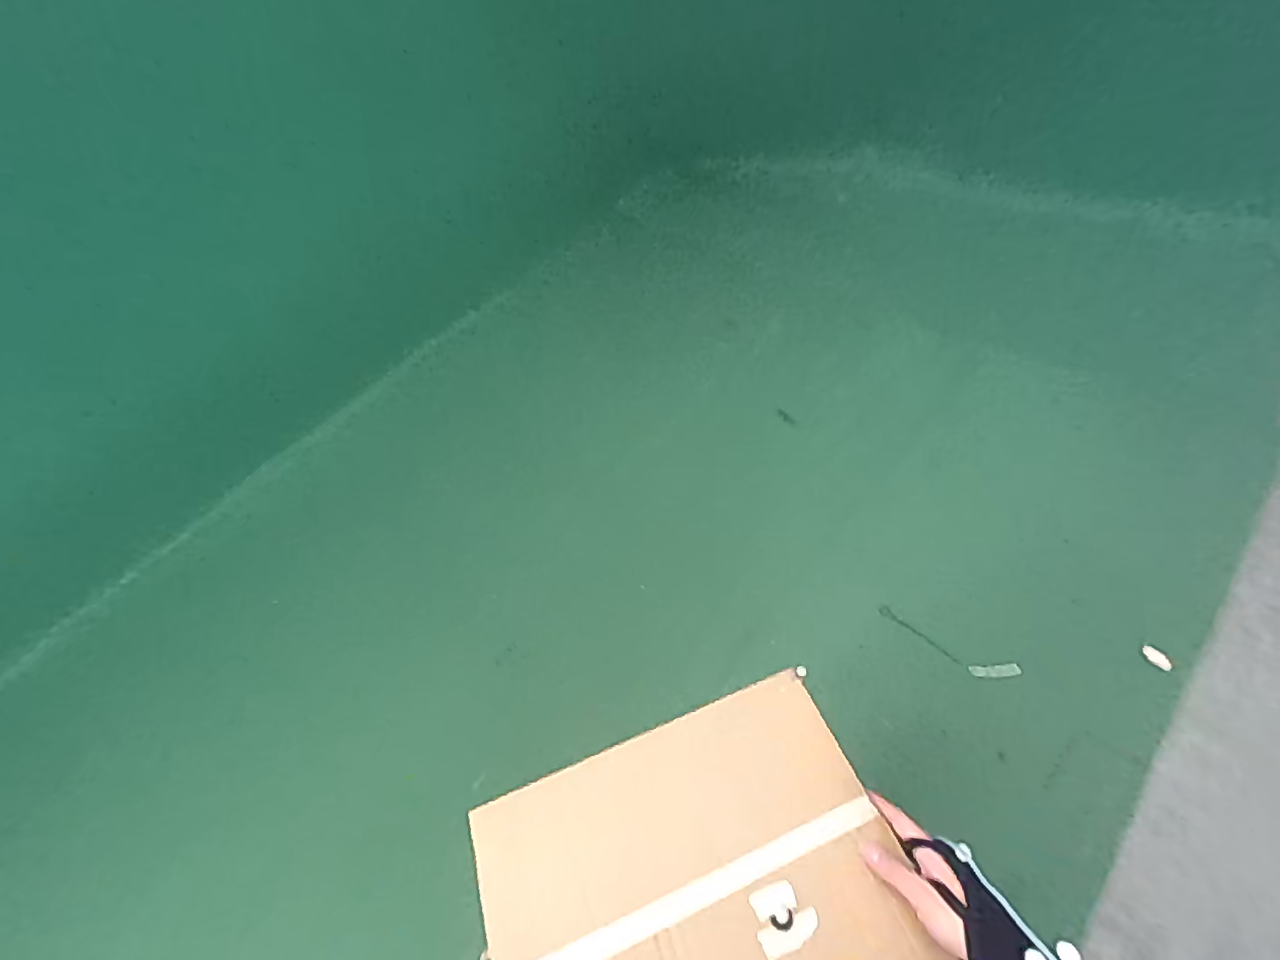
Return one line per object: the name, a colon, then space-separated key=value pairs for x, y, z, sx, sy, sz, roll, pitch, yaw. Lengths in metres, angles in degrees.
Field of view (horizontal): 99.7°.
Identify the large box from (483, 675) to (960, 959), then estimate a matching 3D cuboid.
large box: x=0.072 y=0.508 z=0.656 sx=0.408 sy=0.320 sz=0.320 roll=-19 pitch=52 yaw=-10
